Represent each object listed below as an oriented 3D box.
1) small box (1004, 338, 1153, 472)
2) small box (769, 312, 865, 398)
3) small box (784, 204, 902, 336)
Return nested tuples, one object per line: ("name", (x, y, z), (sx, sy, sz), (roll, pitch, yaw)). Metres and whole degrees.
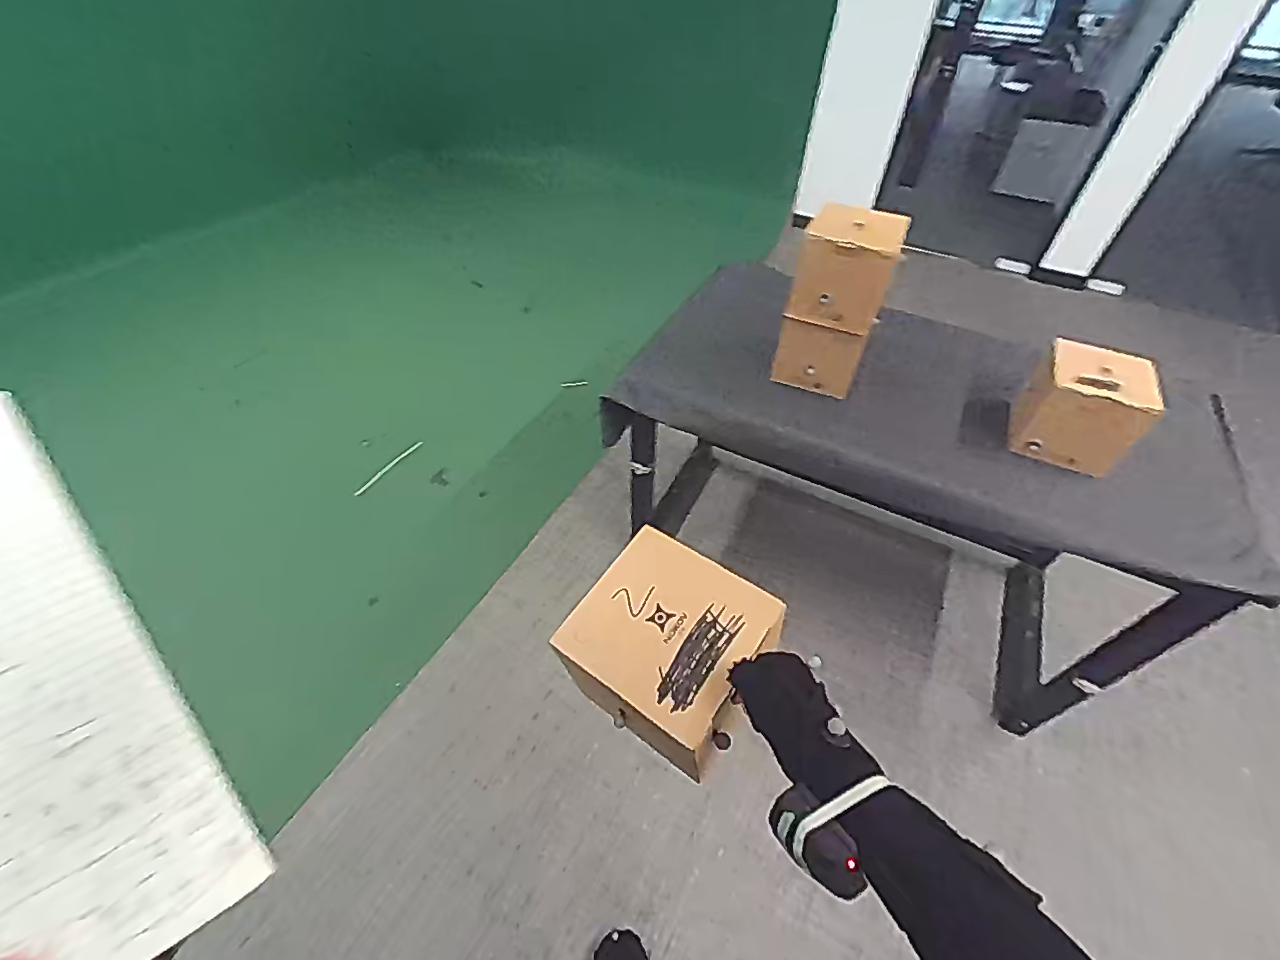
("small box", (0.842, -0.145, 1.057), (0.168, 0.176, 0.179), (21, 49, 17))
("small box", (0.395, -0.312, 1.196), (0.168, 0.176, 0.179), (18, 49, 15))
("small box", (0.397, -0.416, 1.071), (0.168, 0.176, 0.179), (19, 50, 15))
